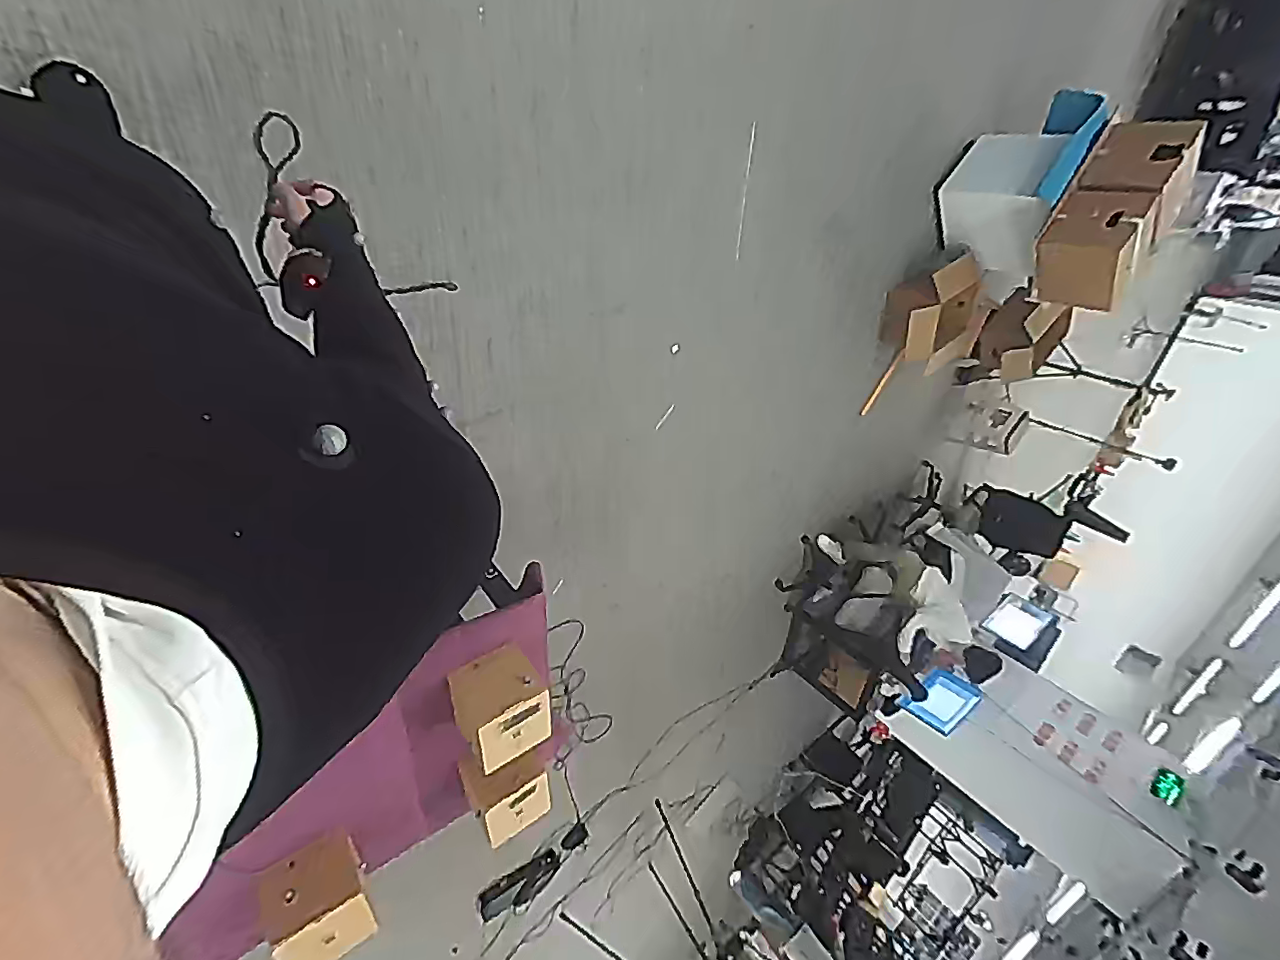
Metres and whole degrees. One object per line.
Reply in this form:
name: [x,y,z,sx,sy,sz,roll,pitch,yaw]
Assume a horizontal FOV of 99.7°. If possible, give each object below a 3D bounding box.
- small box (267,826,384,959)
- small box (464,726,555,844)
small box: [-0.673,0.889,1.157,0.168,0.176,0.179,-19,127,-32]
small box: [-0.334,0.765,1.380,0.168,0.176,0.179,-21,128,-31]
